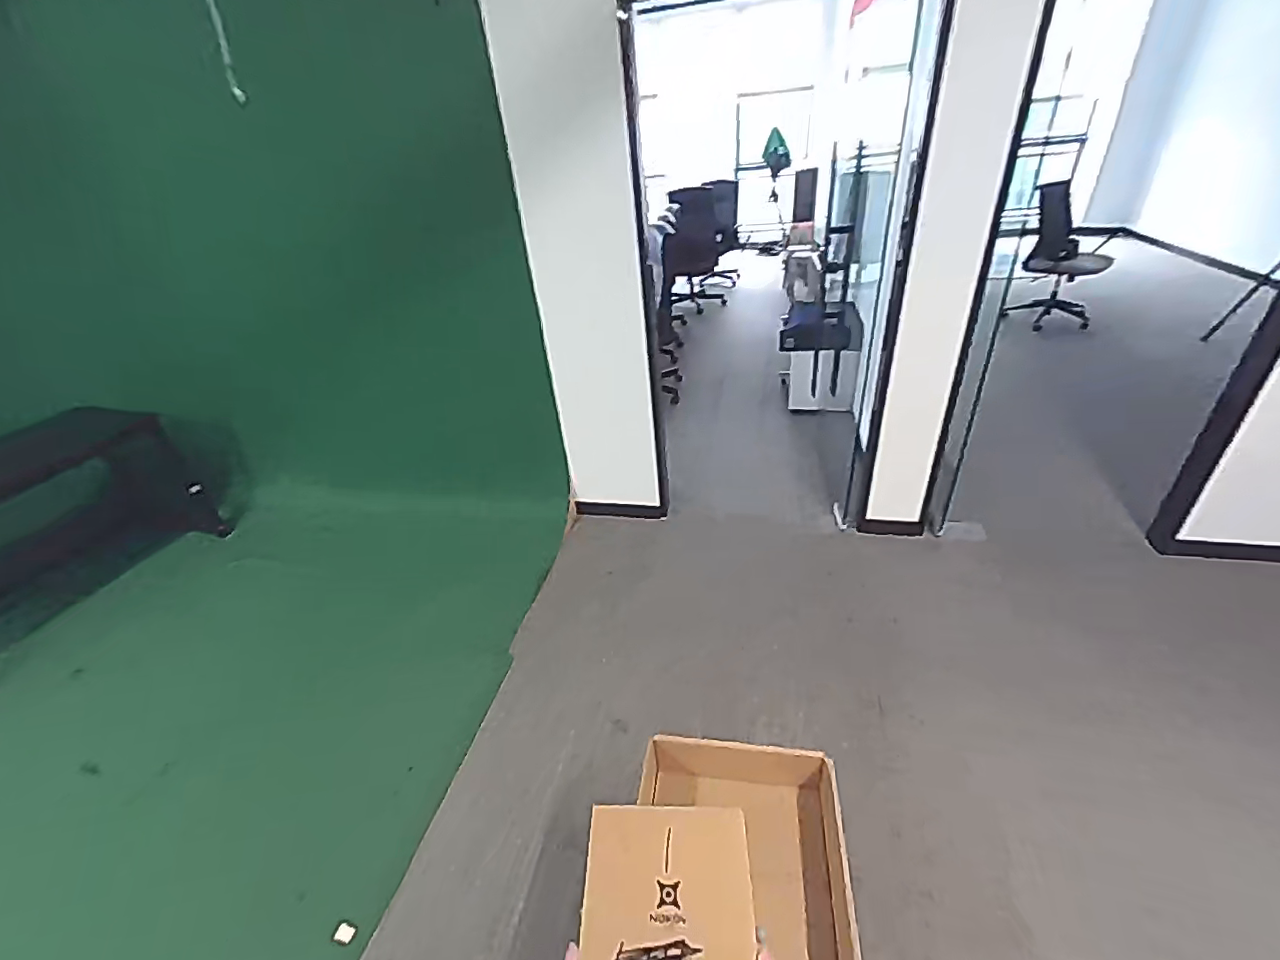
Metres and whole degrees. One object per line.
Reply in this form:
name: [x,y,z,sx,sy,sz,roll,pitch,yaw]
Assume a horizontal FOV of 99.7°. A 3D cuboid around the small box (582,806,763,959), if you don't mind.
small box: [0.035,0.466,0.563,0.168,0.176,0.179,-2,39,3]
